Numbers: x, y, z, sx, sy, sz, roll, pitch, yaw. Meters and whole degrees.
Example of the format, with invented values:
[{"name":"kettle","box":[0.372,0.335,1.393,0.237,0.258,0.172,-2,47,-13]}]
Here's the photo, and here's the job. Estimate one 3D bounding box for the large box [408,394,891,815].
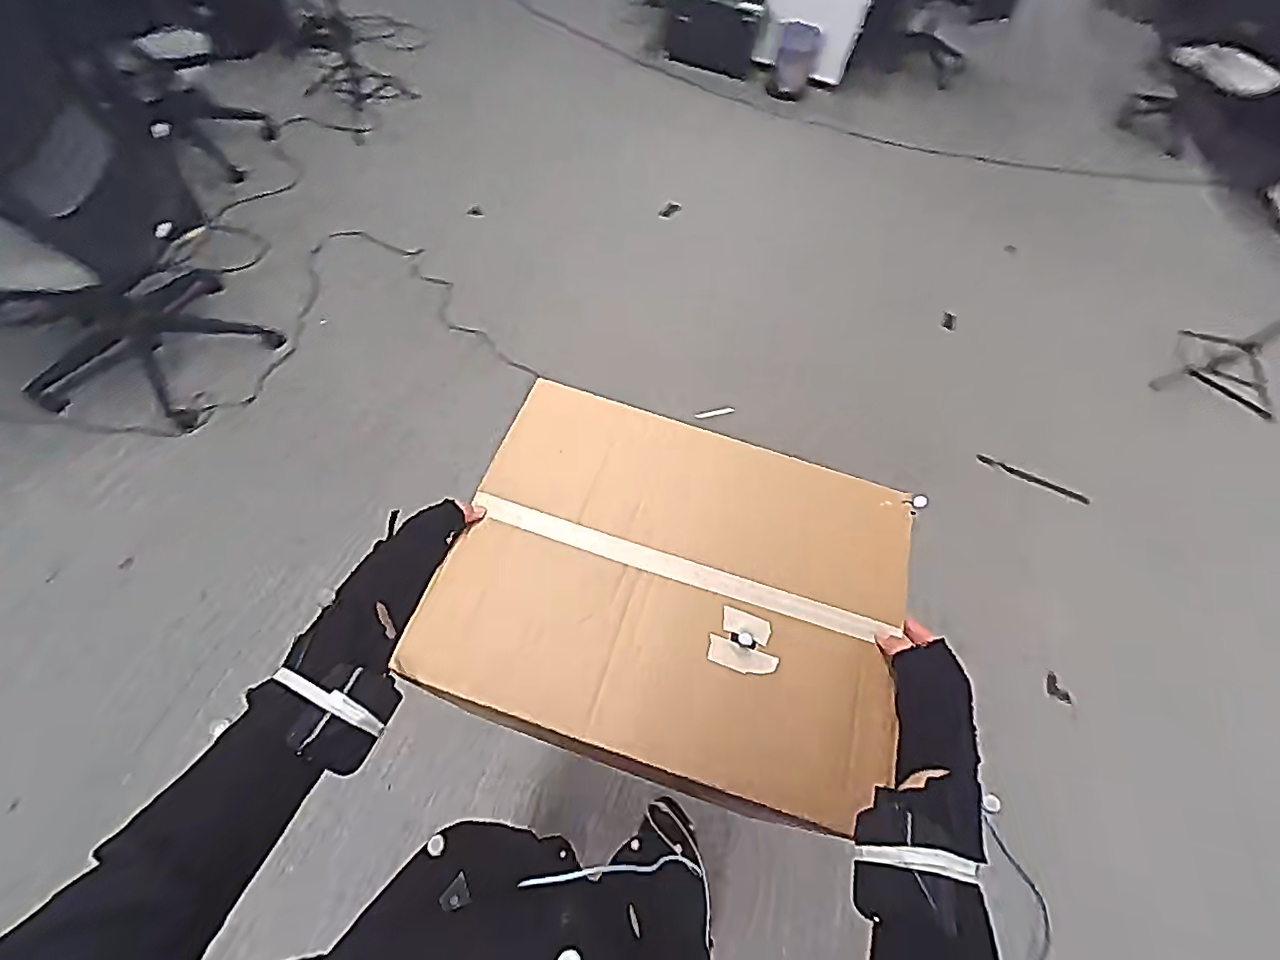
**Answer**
[{"name":"large box","box":[0.019,0.155,0.633,0.408,0.320,0.320,17,62,2]}]
